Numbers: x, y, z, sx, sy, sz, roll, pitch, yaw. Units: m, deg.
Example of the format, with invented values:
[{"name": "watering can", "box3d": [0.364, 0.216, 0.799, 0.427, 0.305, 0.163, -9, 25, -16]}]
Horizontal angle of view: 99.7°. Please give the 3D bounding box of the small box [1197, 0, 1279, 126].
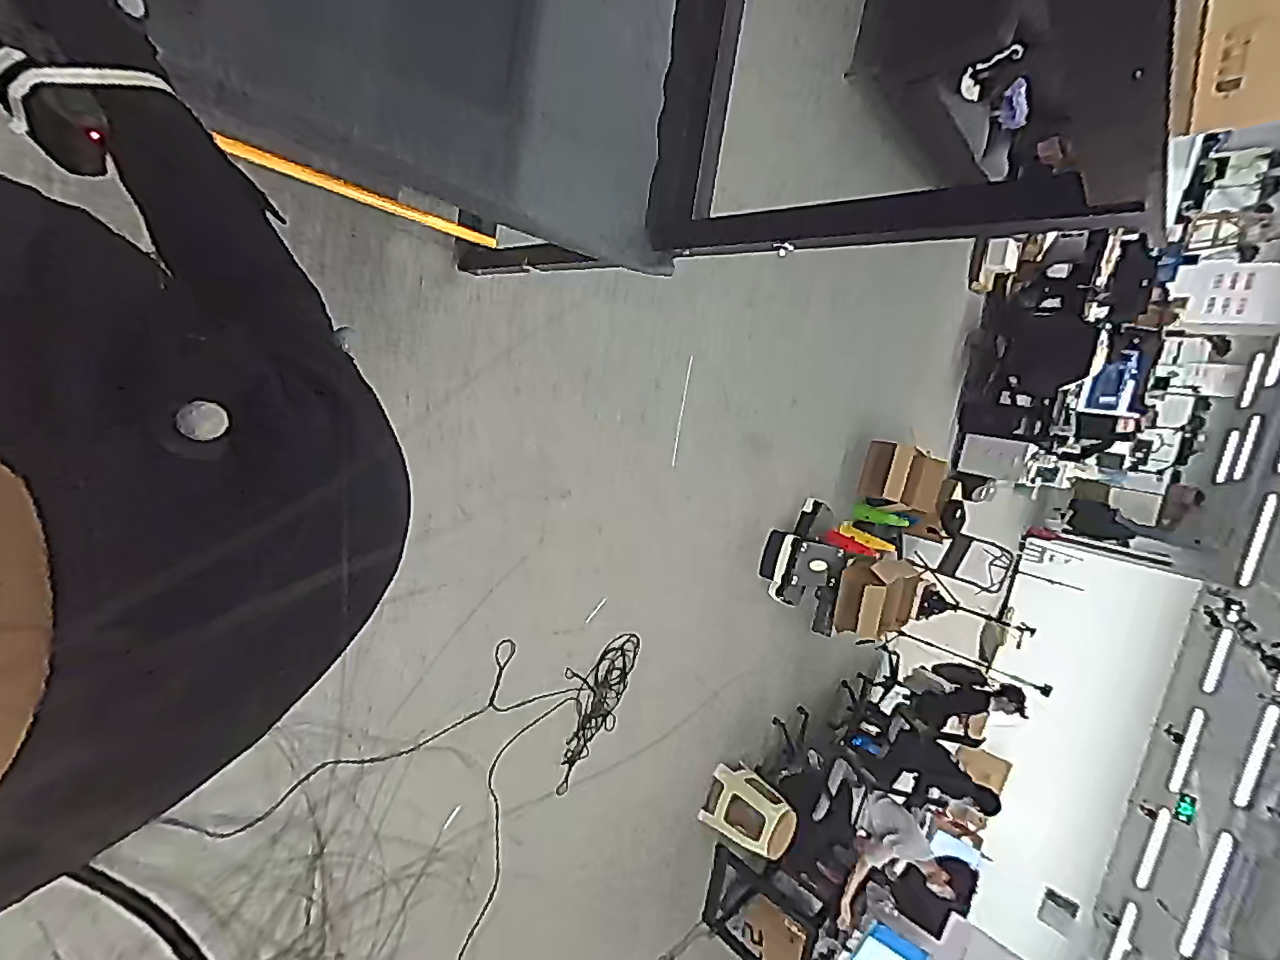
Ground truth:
[{"name": "small box", "box3d": [0.530, -0.389, 0.374, 0.168, 0.176, 0.179, 16, 91, -48]}]
